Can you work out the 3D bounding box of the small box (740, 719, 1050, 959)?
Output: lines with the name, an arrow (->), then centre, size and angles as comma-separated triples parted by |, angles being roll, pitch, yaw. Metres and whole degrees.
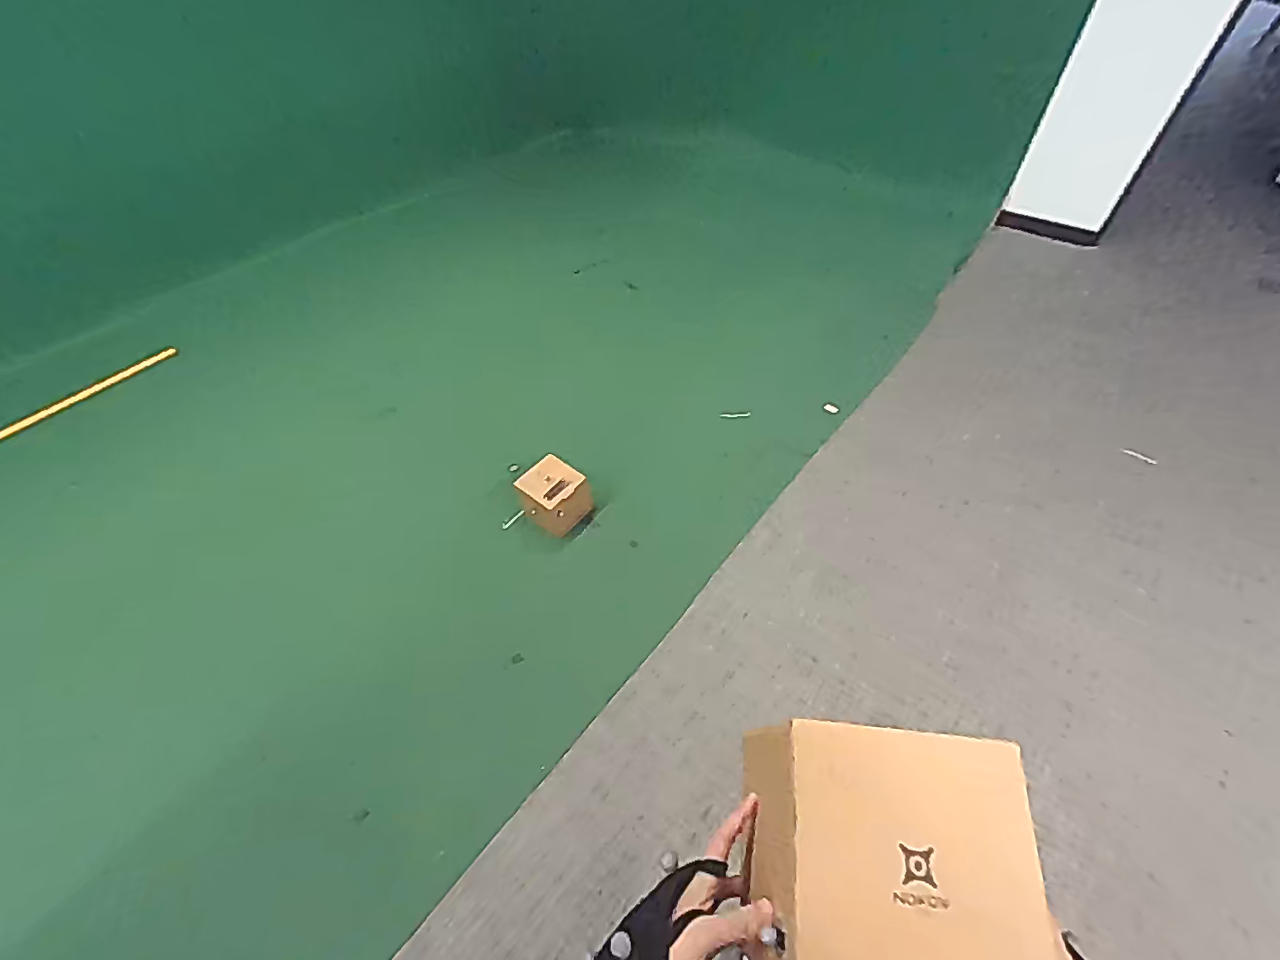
small box -> 0.176, 0.295, 0.429 | 0.168, 0.176, 0.179 | 5, 64, 0
